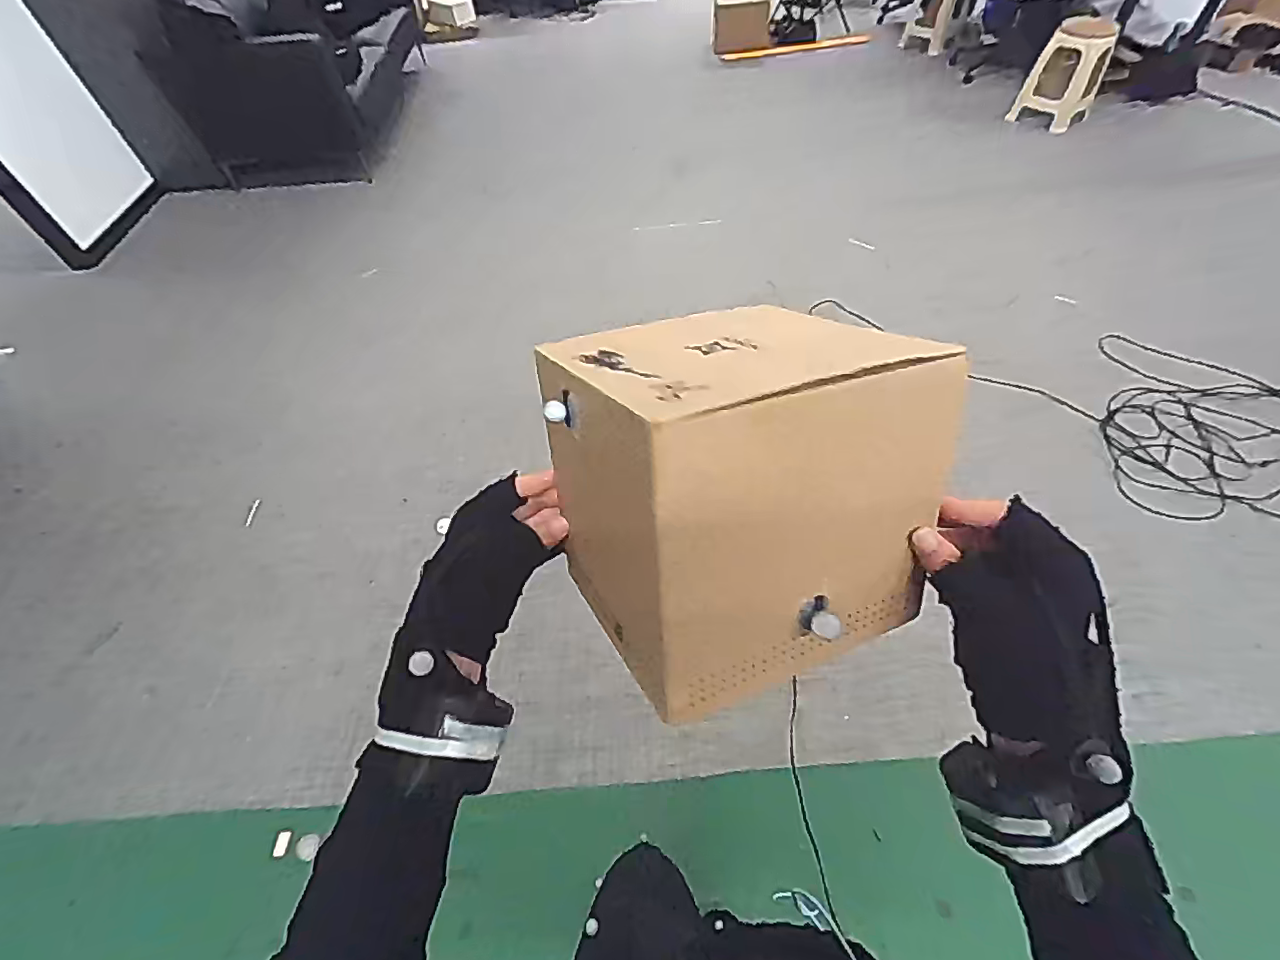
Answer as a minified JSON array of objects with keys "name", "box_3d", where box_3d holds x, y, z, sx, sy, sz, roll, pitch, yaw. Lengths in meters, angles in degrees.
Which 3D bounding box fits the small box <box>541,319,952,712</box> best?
[{"name":"small box","box_3d":[0.050,0.004,0.341,0.179,0.176,0.168,-14,27,-20]}]
